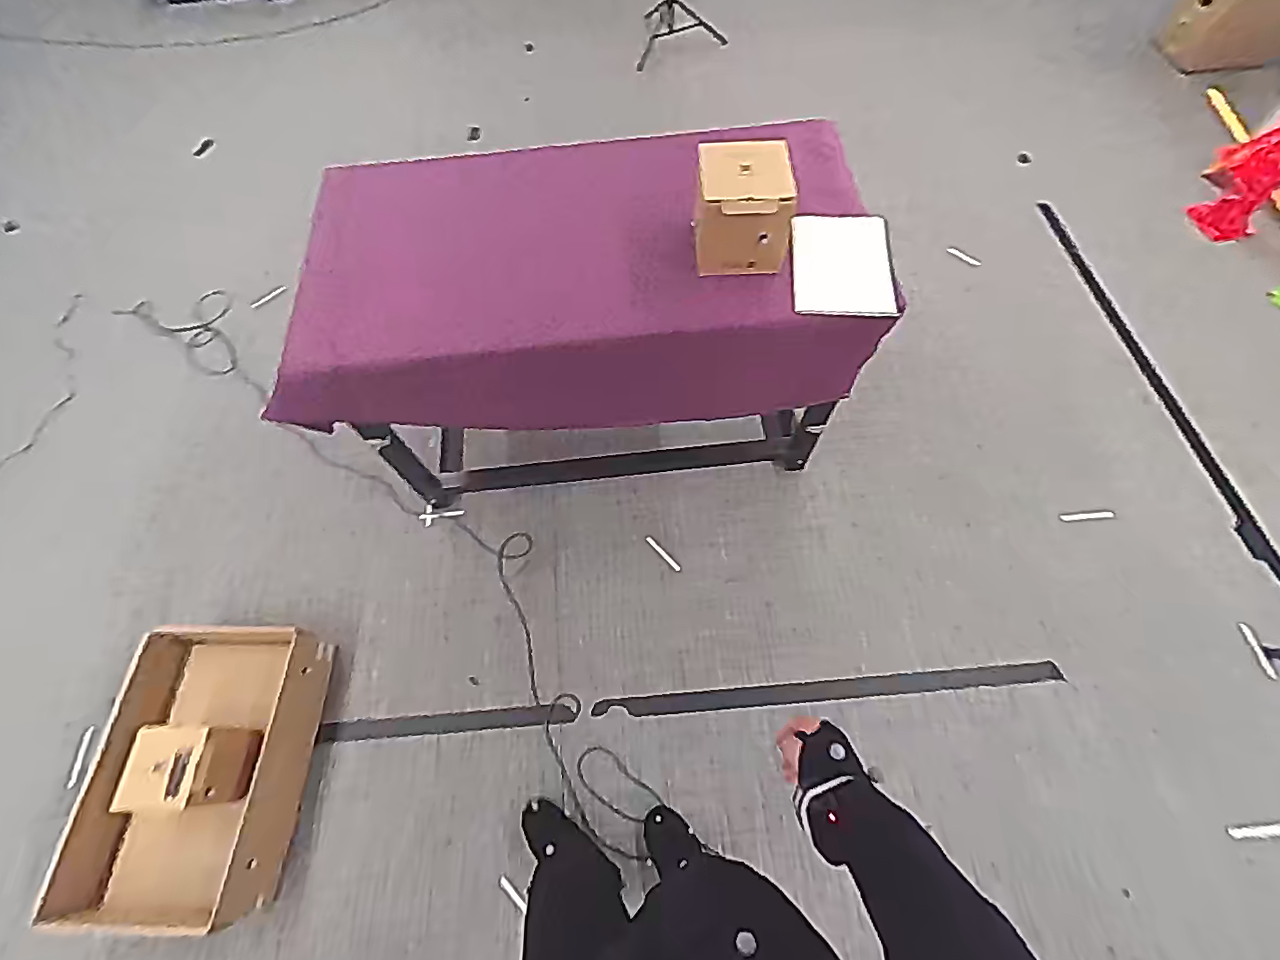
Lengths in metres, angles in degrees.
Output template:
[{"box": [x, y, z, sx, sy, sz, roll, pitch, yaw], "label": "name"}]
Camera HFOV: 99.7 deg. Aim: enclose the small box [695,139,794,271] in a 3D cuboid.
[{"box": [0.196, -0.531, 1.060, 0.168, 0.176, 0.179, -1, 63, 2], "label": "small box"}]
